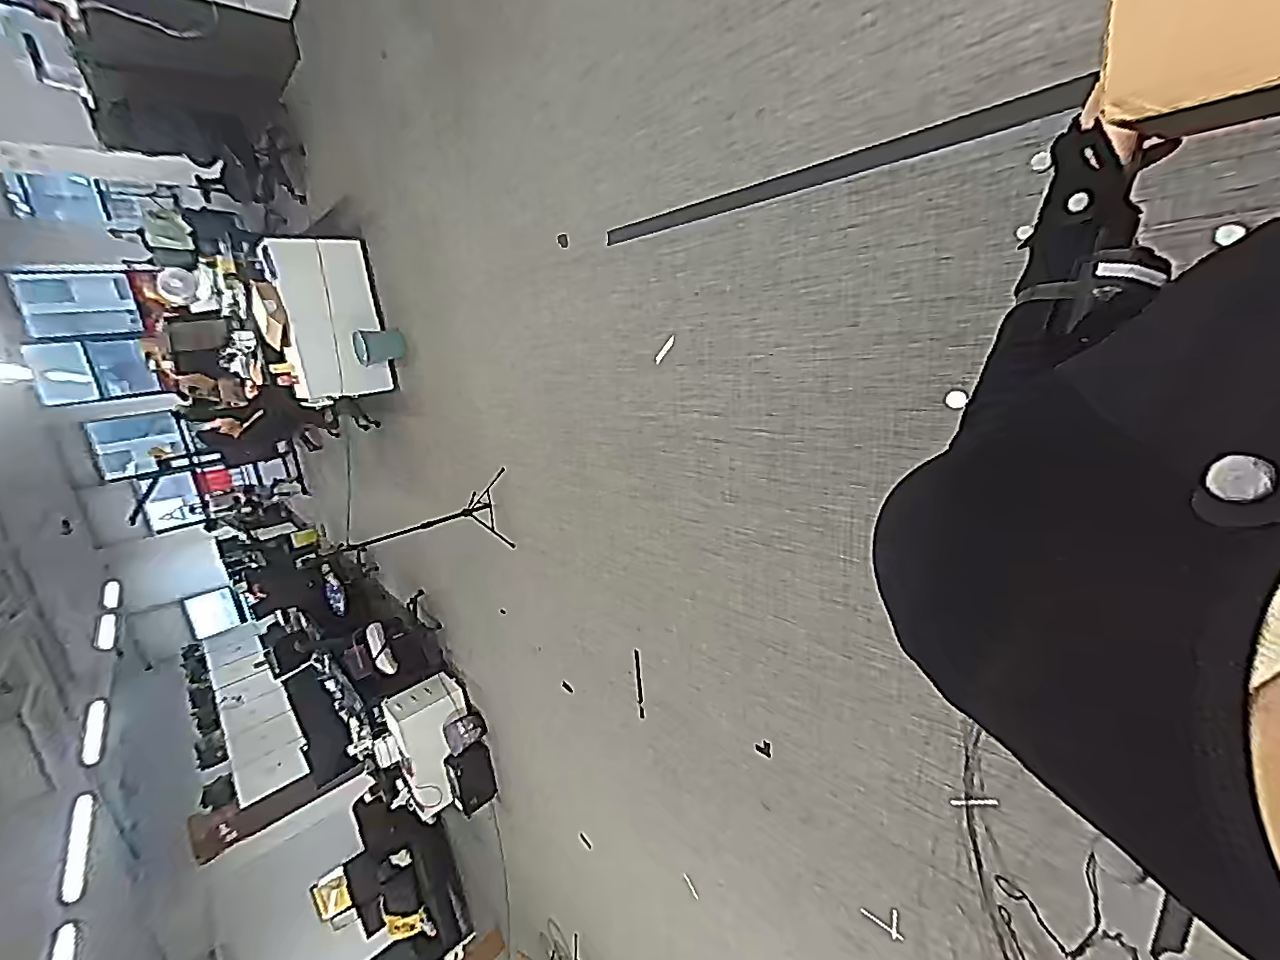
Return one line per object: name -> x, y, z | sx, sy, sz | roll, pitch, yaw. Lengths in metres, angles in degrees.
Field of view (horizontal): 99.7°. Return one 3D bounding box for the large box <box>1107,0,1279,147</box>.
large box -> 0.427, -0.338, 0.161 | 0.408, 0.320, 0.320 | 9, 119, 44
